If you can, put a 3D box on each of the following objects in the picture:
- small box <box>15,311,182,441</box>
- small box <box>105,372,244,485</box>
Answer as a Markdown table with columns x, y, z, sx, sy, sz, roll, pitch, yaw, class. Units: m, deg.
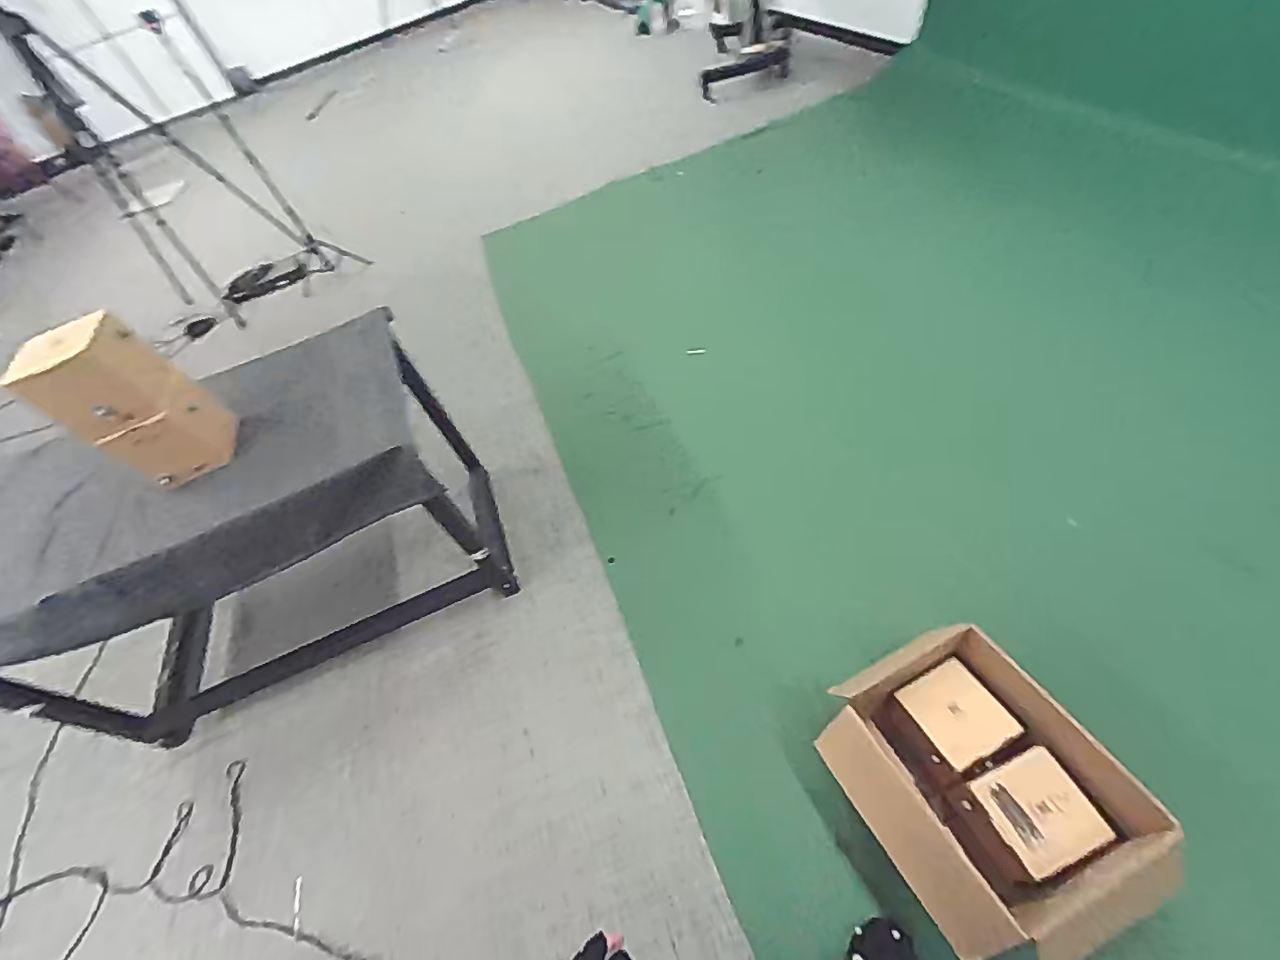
| x | y | z | sx | sy | sz | roll | pitch | yaw | class |
| --- | --- | --- | --- | --- | --- | --- | --- | --- | --- |
| -1.116 | -0.215 | 1.135 | 0.168 | 0.176 | 0.179 | -27 | 51 | -5 | small box |
| -1.063 | -0.112 | 1.253 | 0.168 | 0.176 | 0.179 | -25 | 49 | -4 | small box |
